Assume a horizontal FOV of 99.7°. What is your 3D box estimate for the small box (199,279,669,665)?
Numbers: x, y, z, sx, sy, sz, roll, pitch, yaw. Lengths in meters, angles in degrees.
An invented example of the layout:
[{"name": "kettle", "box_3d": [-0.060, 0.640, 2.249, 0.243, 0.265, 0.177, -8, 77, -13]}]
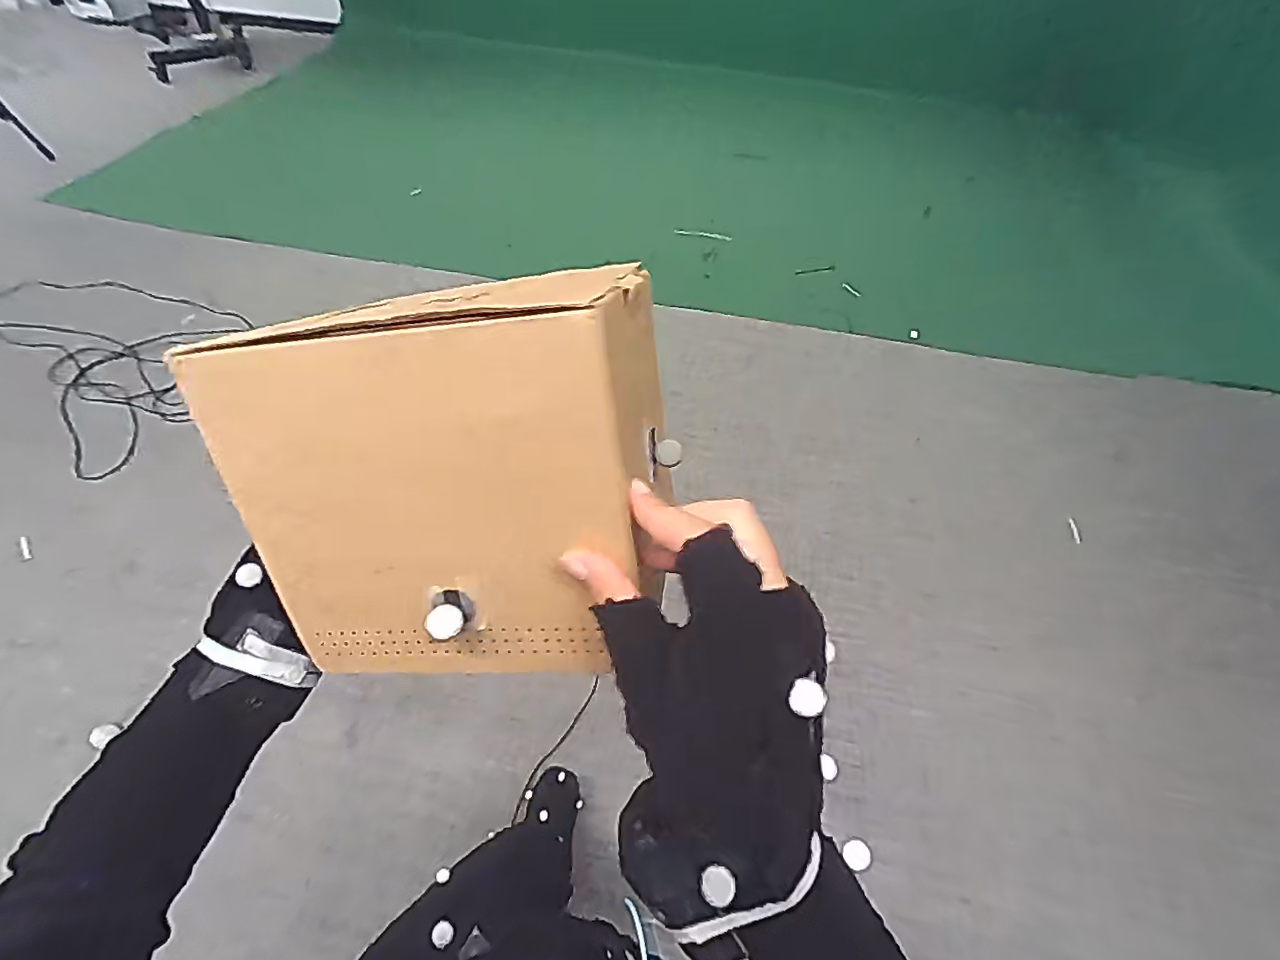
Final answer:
[{"name": "small box", "box_3d": [-0.080, -0.011, 0.314, 0.179, 0.176, 0.168, -3, 24, 10]}]
